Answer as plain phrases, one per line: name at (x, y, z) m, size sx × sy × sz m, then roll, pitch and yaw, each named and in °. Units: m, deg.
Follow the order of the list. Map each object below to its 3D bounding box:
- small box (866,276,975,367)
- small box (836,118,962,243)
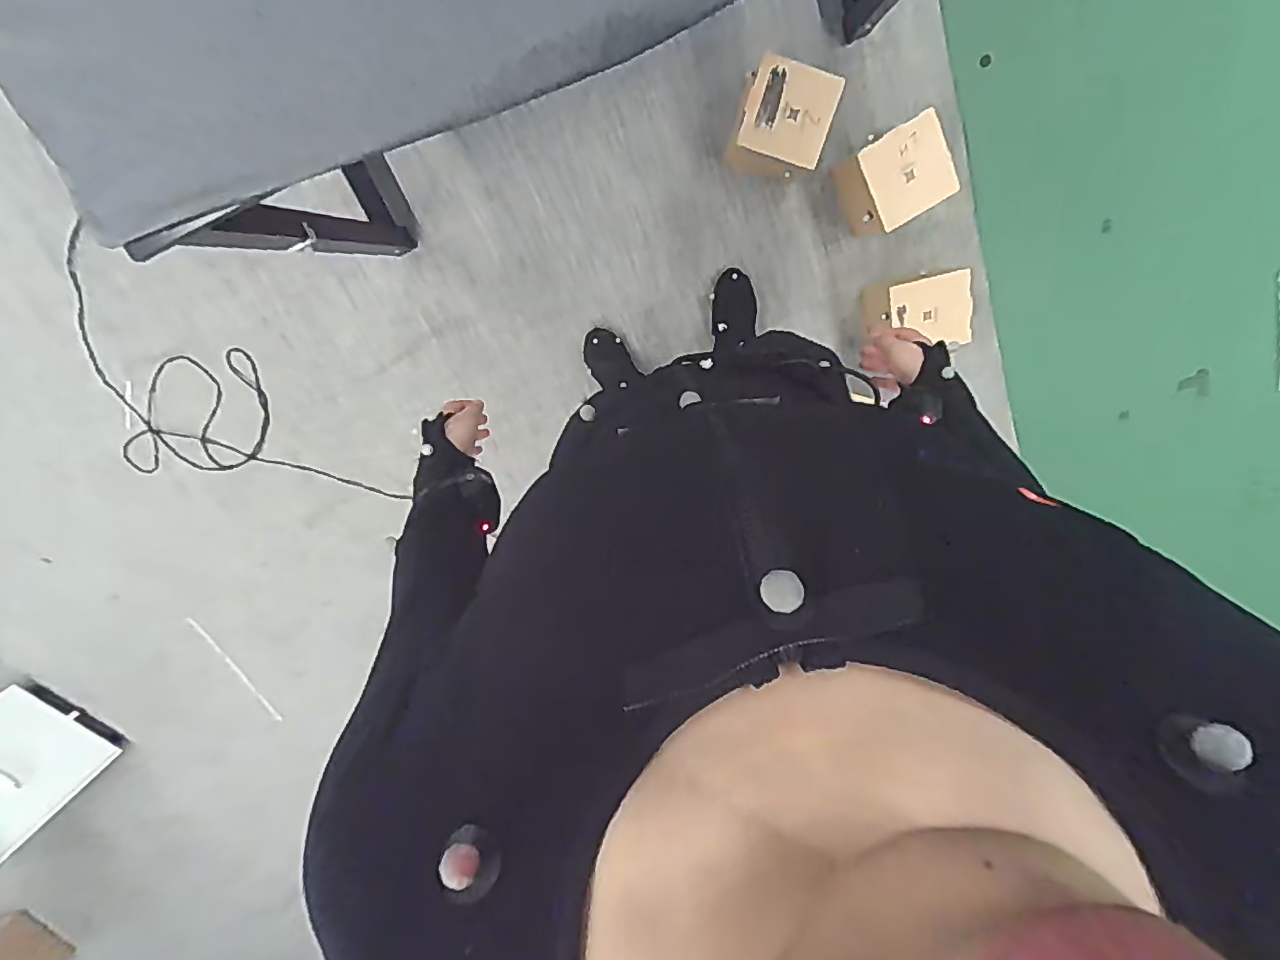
small box at (0.658, -0.380, 1.279) m, size 0.179 × 0.176 × 0.168 m, roll -12°, pitch 111°, yaw 6°
small box at (0.558, -0.642, 1.184) m, size 0.168 × 0.176 × 0.179 m, roll -28°, pitch 107°, yaw 11°
